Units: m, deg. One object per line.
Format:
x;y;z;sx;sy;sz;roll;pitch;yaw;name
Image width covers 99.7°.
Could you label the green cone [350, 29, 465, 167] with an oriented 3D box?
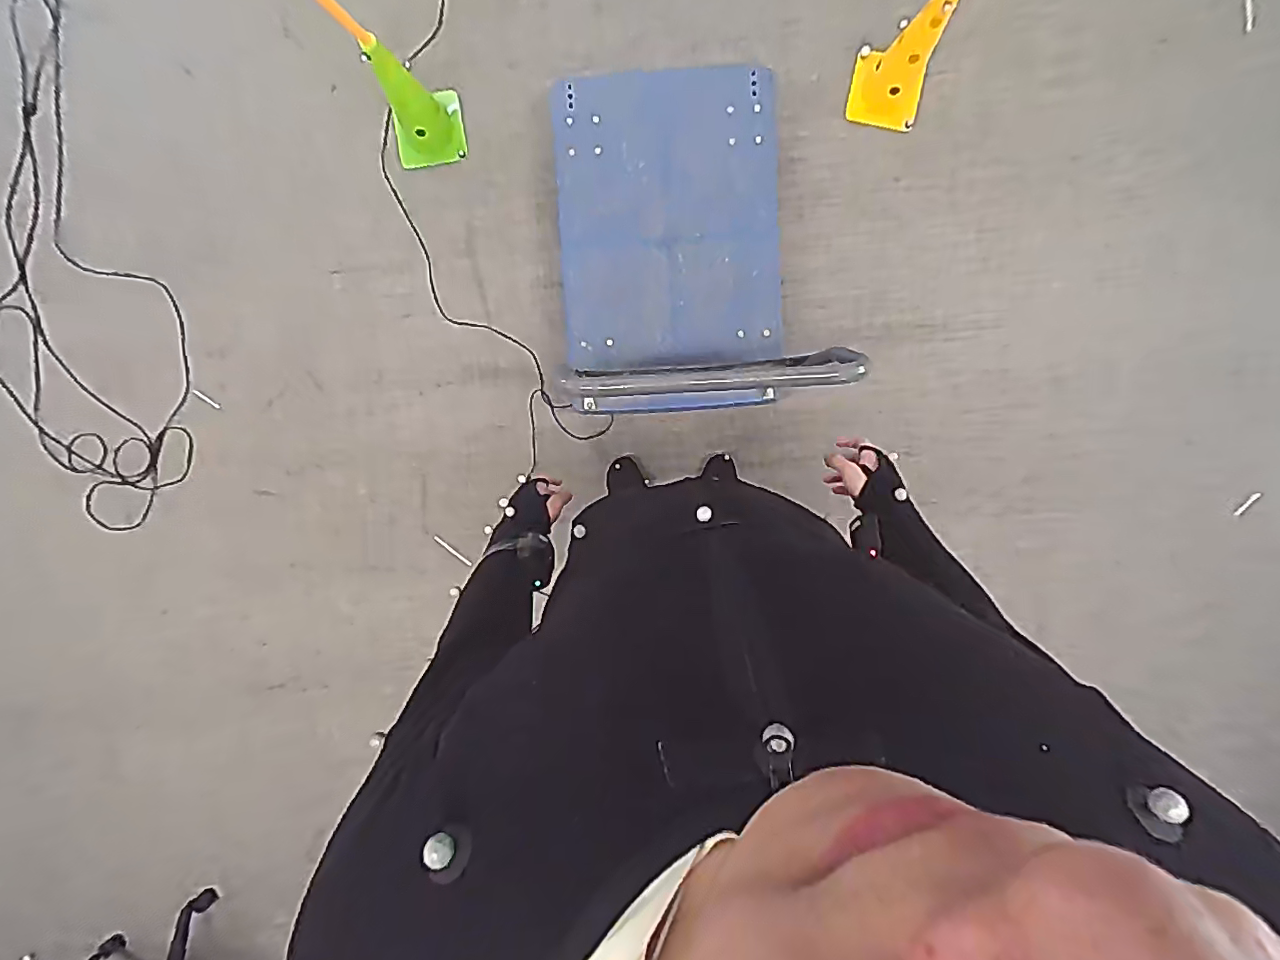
-0.625;-1.017;1.399;0.202;0.368;0.200;-9;93;3;green cone
